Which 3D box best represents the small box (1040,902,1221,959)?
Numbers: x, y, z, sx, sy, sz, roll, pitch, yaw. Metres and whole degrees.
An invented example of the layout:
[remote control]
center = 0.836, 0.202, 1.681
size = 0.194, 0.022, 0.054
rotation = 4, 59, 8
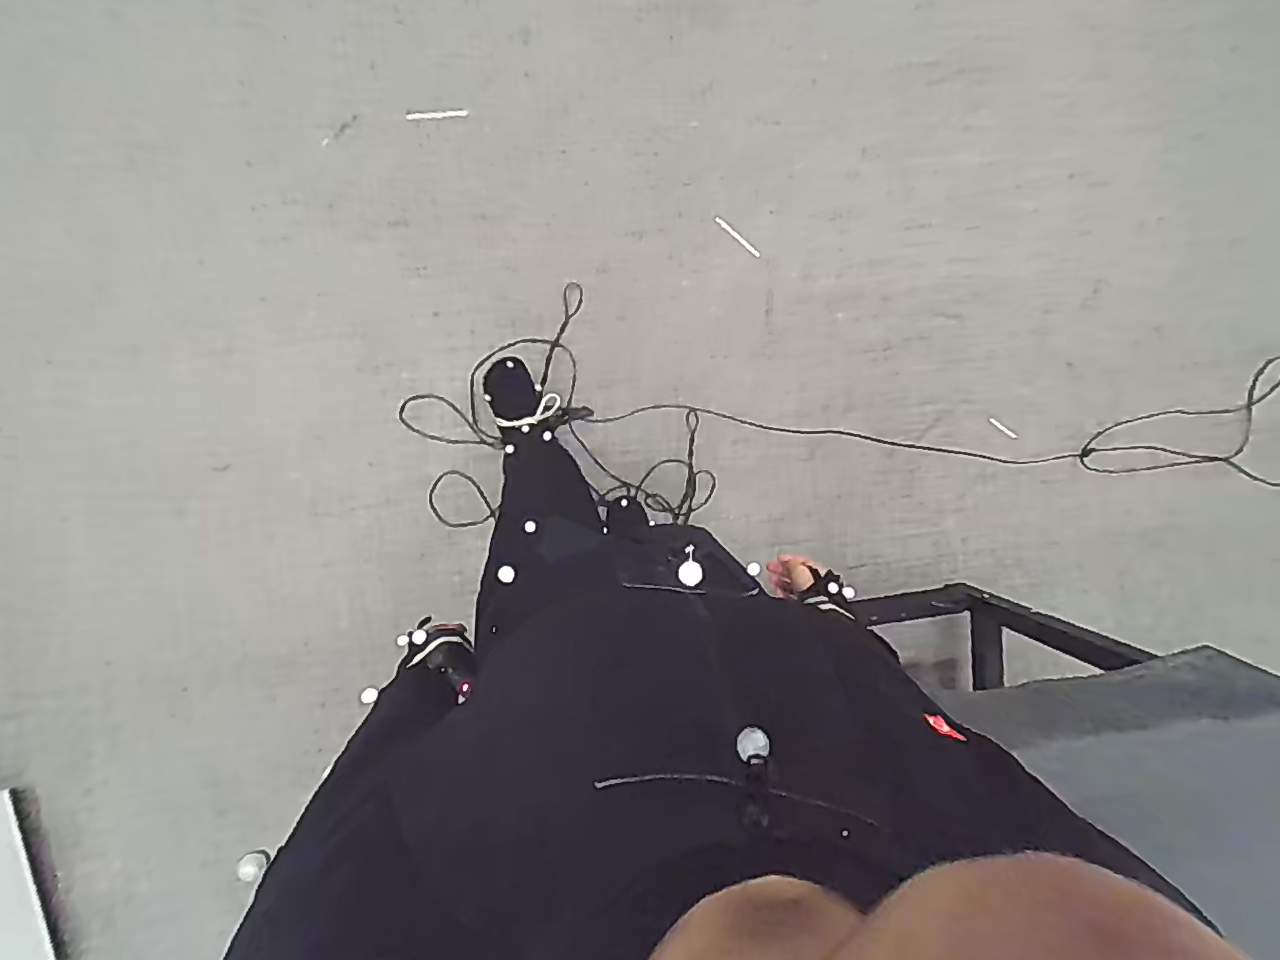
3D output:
[small box]
center = 0.649, 0.678, 0.677
size = 0.179, 0.176, 0.168
rotation = -7, 96, -6
